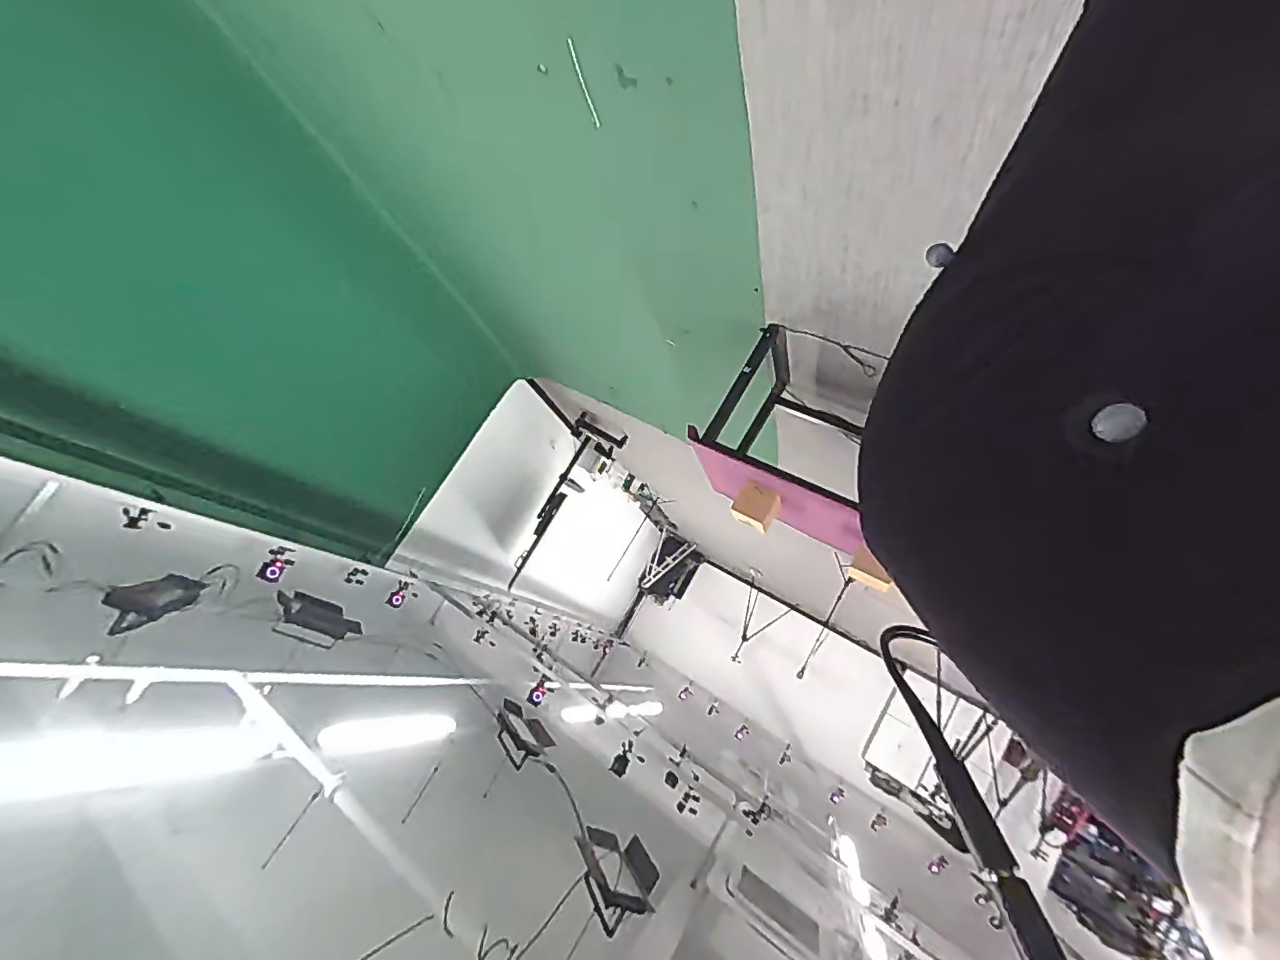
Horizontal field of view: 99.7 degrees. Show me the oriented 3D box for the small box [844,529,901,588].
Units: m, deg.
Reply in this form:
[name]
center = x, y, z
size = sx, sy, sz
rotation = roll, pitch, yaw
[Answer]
[small box]
center = 0.983, 0.332, 2.286
size = 0.168, 0.176, 0.179
rotation = 26, 168, 25
